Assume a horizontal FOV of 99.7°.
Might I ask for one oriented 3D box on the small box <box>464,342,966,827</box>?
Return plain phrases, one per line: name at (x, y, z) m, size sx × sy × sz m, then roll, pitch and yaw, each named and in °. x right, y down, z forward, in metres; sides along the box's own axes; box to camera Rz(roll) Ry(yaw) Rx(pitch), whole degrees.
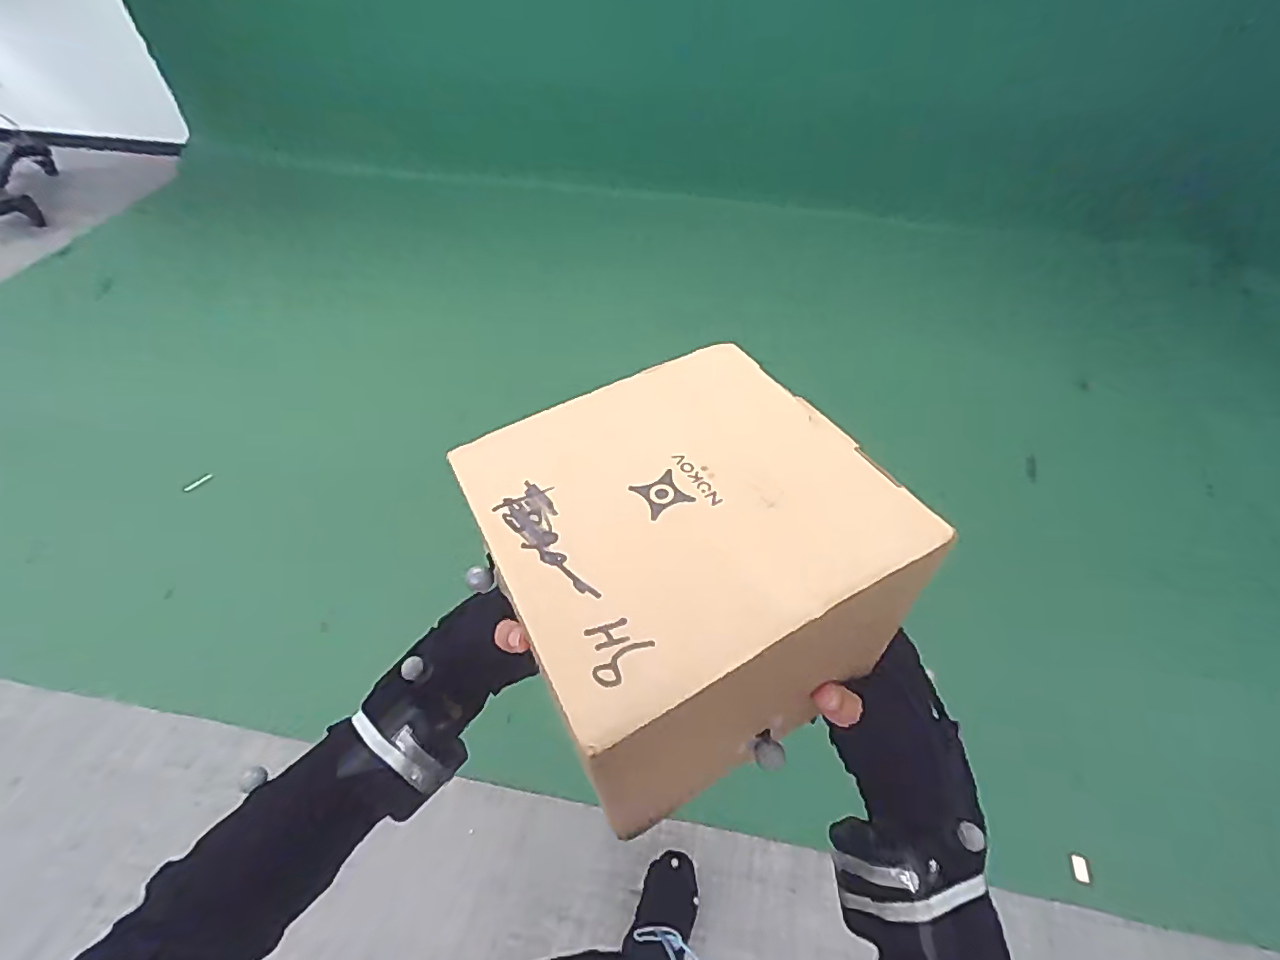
small box at (0.026, 0.055, 0.306) m, size 0.179 × 0.176 × 0.168 m, roll -23°, pitch 51°, yaw -18°
